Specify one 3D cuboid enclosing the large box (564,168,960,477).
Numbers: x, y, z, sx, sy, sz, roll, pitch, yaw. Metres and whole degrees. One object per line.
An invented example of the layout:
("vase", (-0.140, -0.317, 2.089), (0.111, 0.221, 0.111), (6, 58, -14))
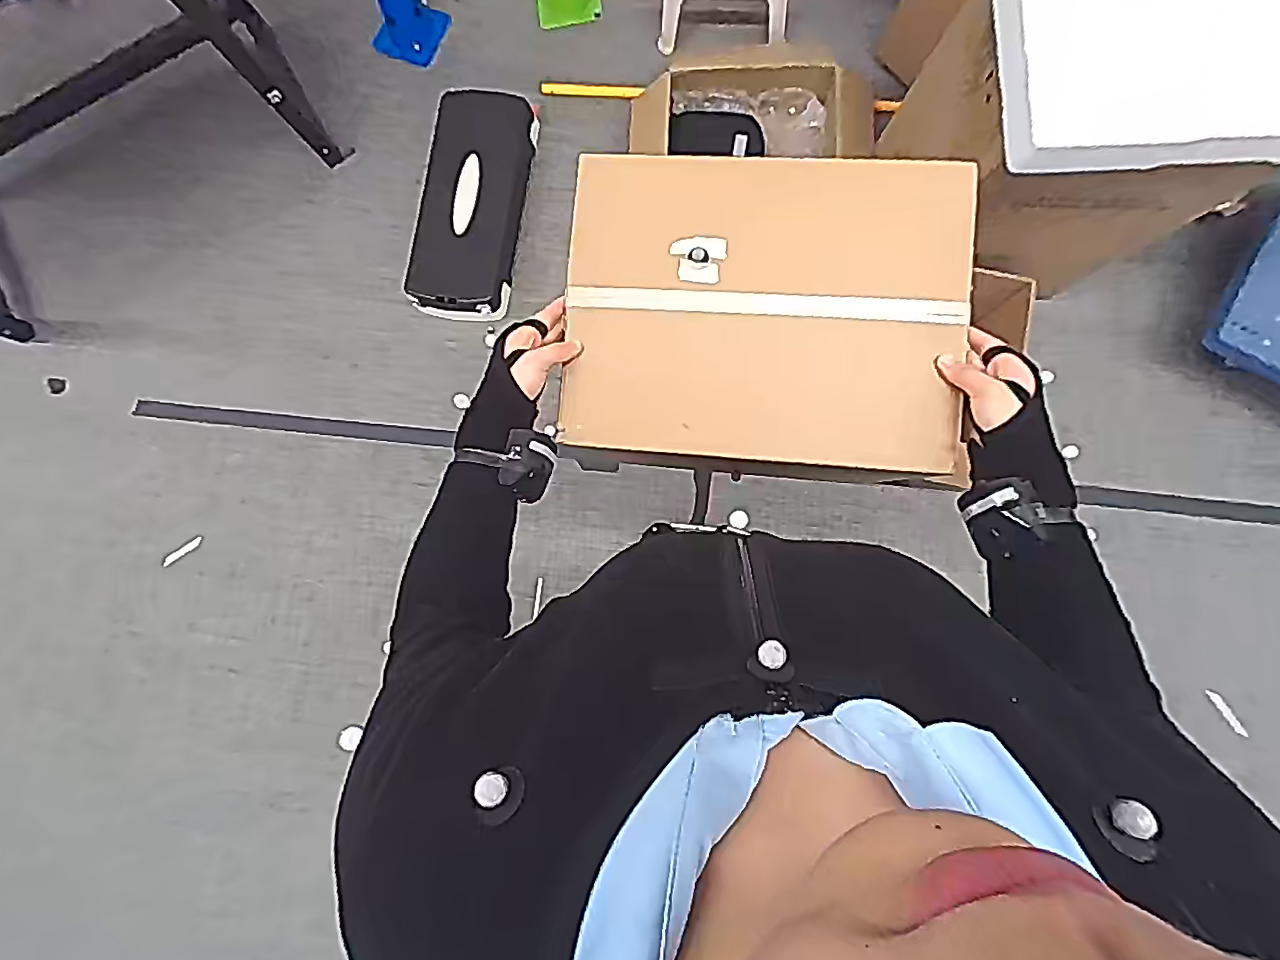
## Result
("large box", (0.141, -0.171, 0.716), (0.408, 0.320, 0.320), (4, 87, 7))
